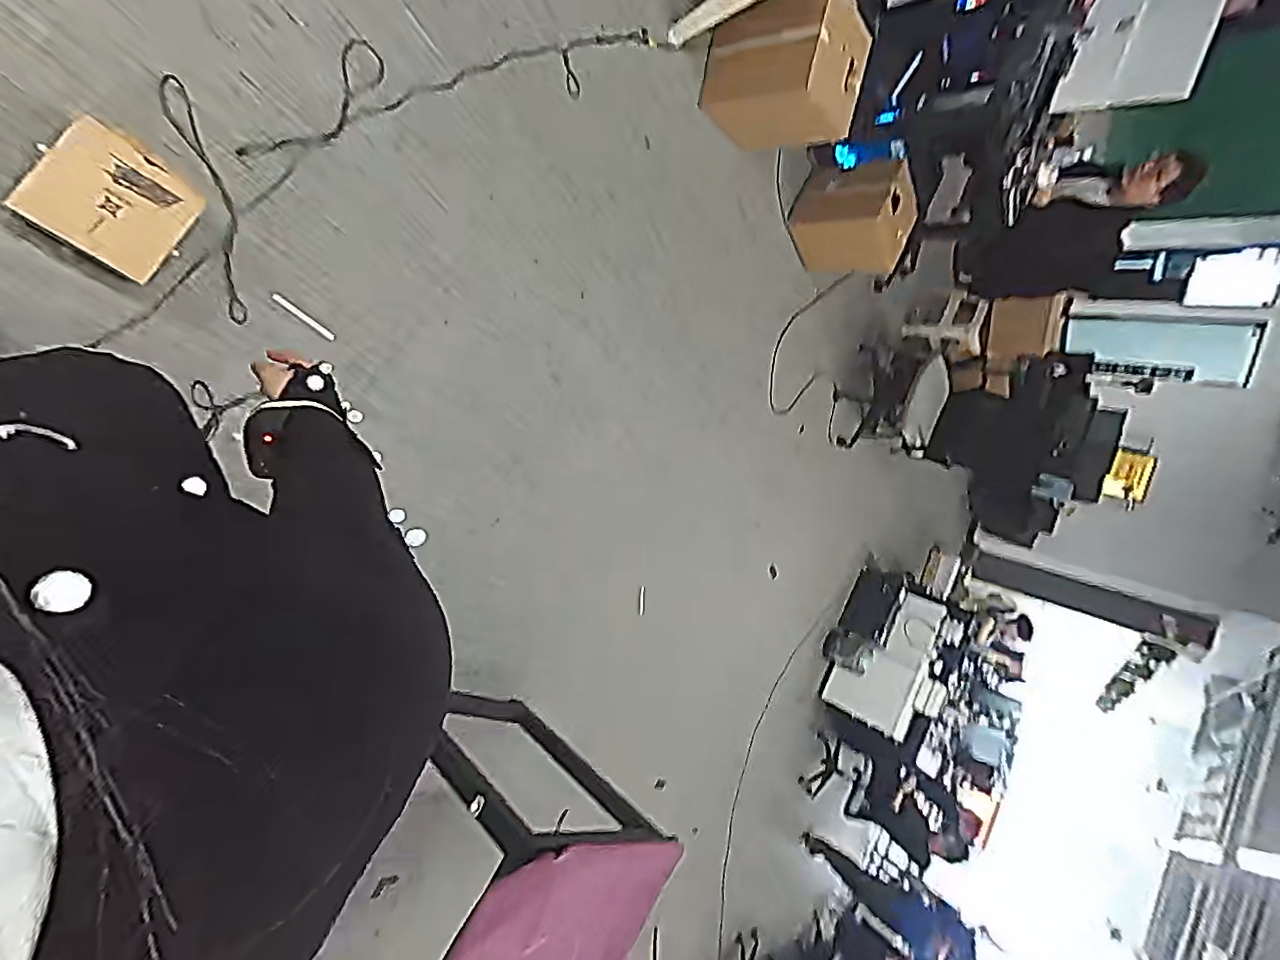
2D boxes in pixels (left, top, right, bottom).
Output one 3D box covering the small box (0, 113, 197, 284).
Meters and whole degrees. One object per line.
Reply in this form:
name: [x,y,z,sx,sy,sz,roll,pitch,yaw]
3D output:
small box: [-0.868,-0.441,0.867,0.168,0.176,0.179,41,75,-47]
